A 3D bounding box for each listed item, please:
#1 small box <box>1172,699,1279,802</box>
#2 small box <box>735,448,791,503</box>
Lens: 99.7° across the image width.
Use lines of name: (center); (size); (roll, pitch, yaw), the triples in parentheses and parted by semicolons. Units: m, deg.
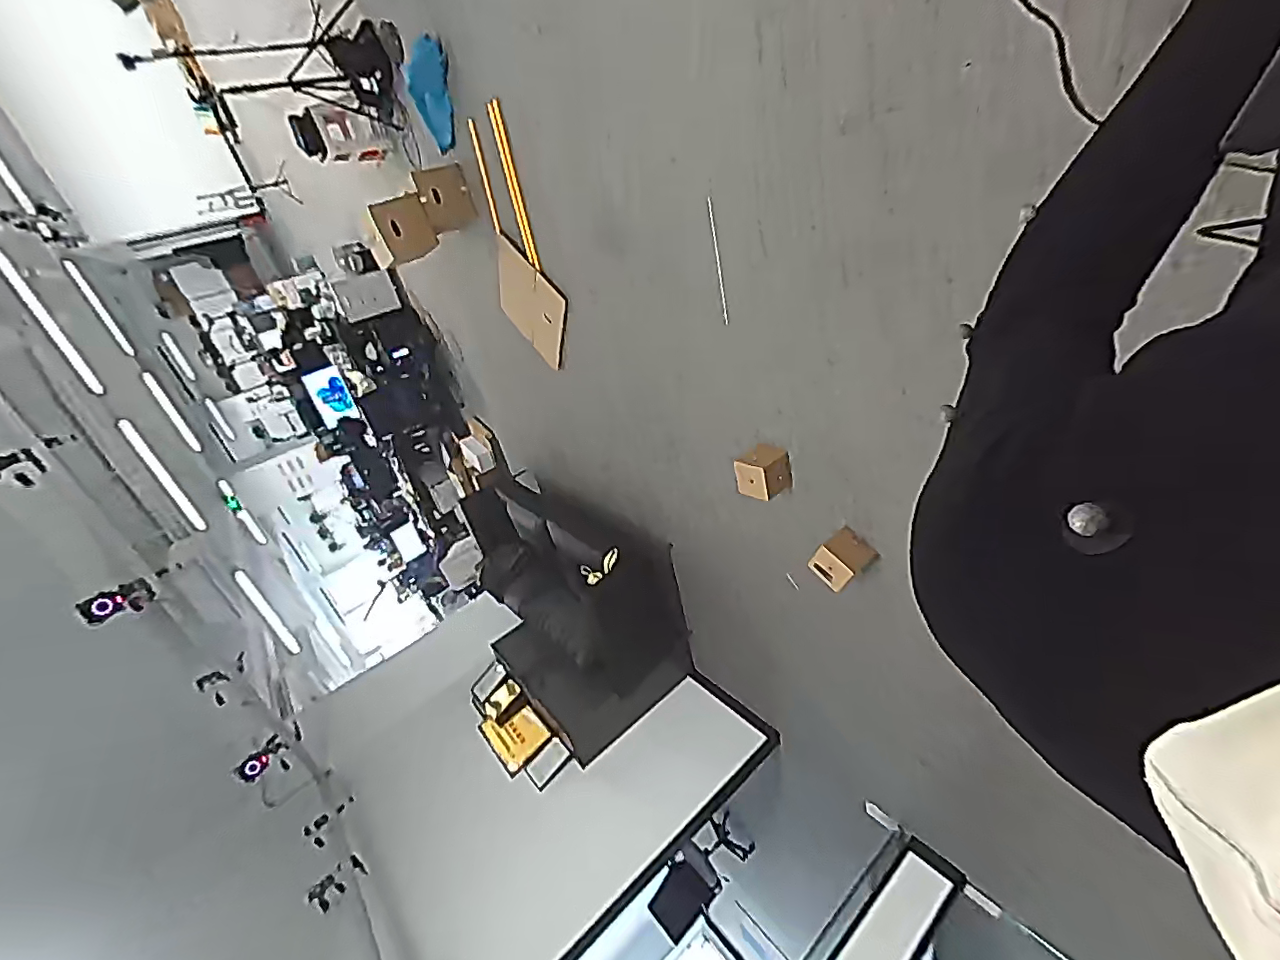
small box: (1.583, 0.710, 1.423); (0.168, 0.176, 0.179); (47, 149, 21)
small box: (0.550, -0.026, 2.391); (0.179, 0.176, 0.168); (20, 133, 50)
